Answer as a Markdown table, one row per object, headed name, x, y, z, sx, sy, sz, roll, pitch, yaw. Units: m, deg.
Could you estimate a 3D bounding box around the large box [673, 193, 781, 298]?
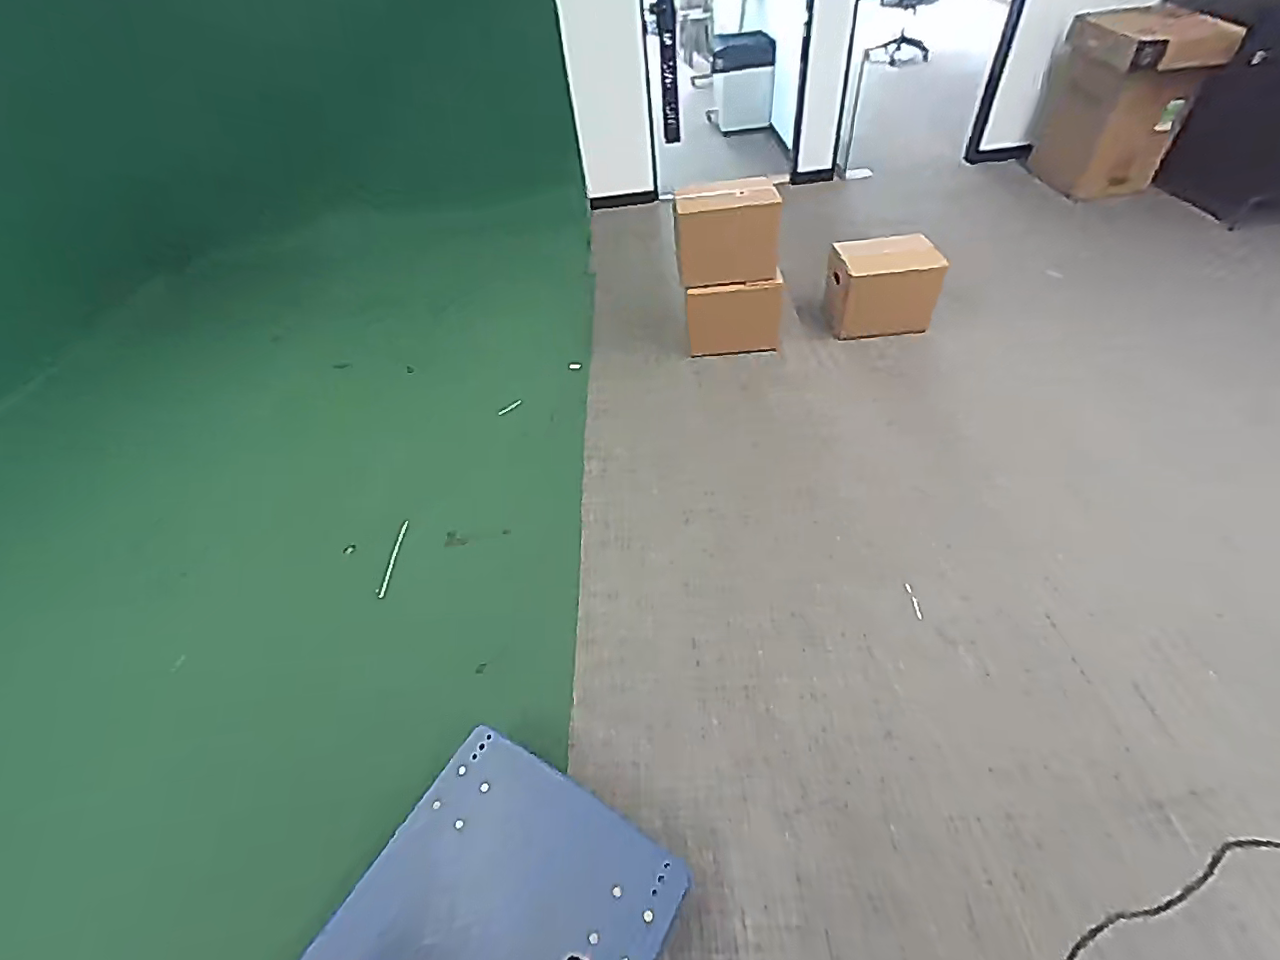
| name | x | y | z | sx | sy | sz | roll | pitch | yaw |
| --- | --- | --- | --- | --- | --- | --- | --- | --- | --- |
| large box | 0.354 | -0.995 | 2.294 | 0.408 | 0.320 | 0.320 | -4 | 43 | 3 |
